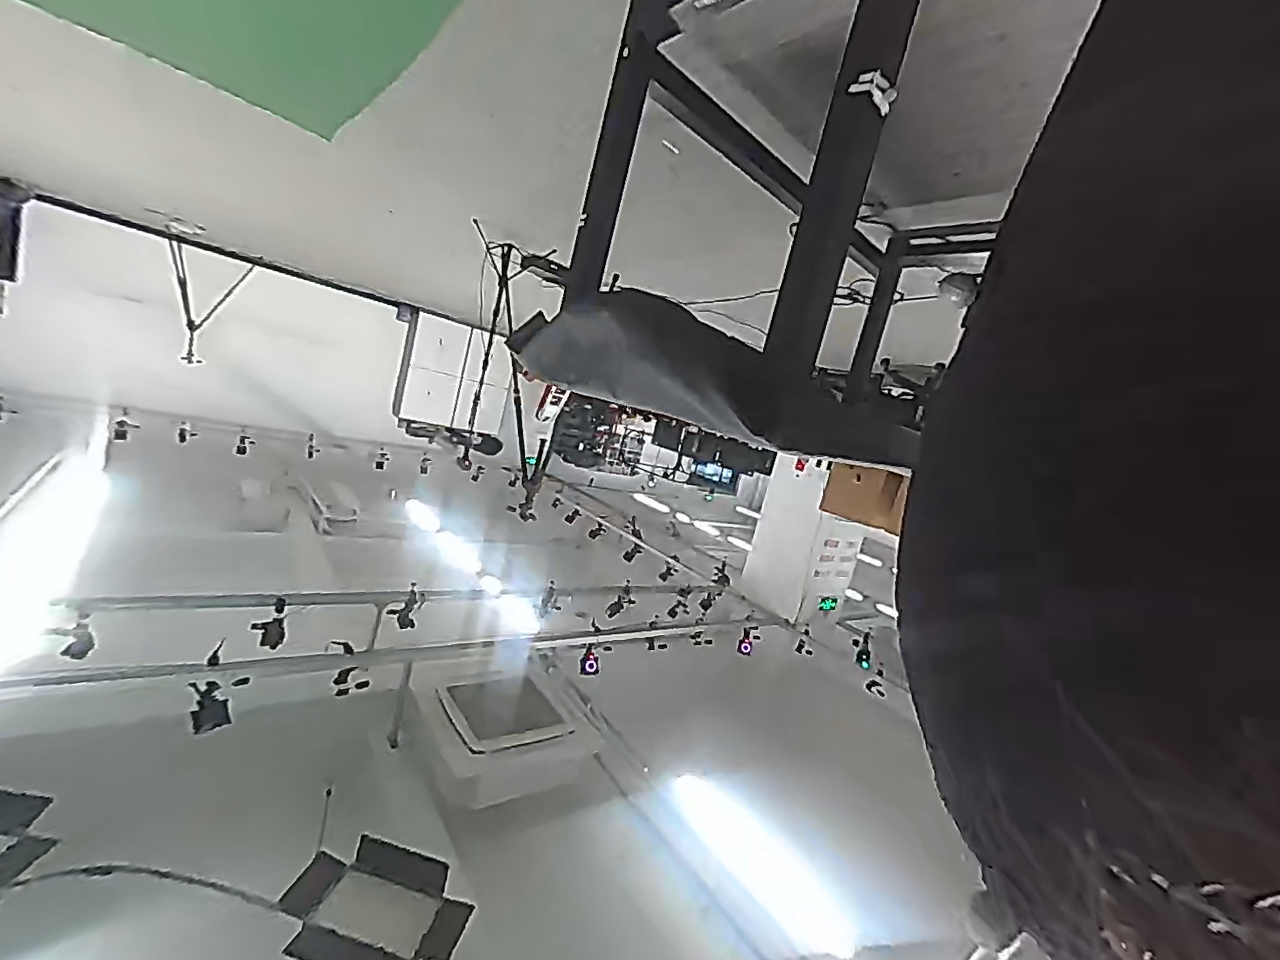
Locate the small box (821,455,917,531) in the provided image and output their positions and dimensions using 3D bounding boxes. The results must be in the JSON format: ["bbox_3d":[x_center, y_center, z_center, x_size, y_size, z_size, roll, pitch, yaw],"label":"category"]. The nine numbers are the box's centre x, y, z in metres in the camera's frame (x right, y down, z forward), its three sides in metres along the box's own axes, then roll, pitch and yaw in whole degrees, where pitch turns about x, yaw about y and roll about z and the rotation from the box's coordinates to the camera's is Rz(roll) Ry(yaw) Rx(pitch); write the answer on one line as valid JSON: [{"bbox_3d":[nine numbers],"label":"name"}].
[{"bbox_3d":[0.654,0.036,1.537,0.179,0.176,0.168,10,-172,-38],"label":"small box"}]
